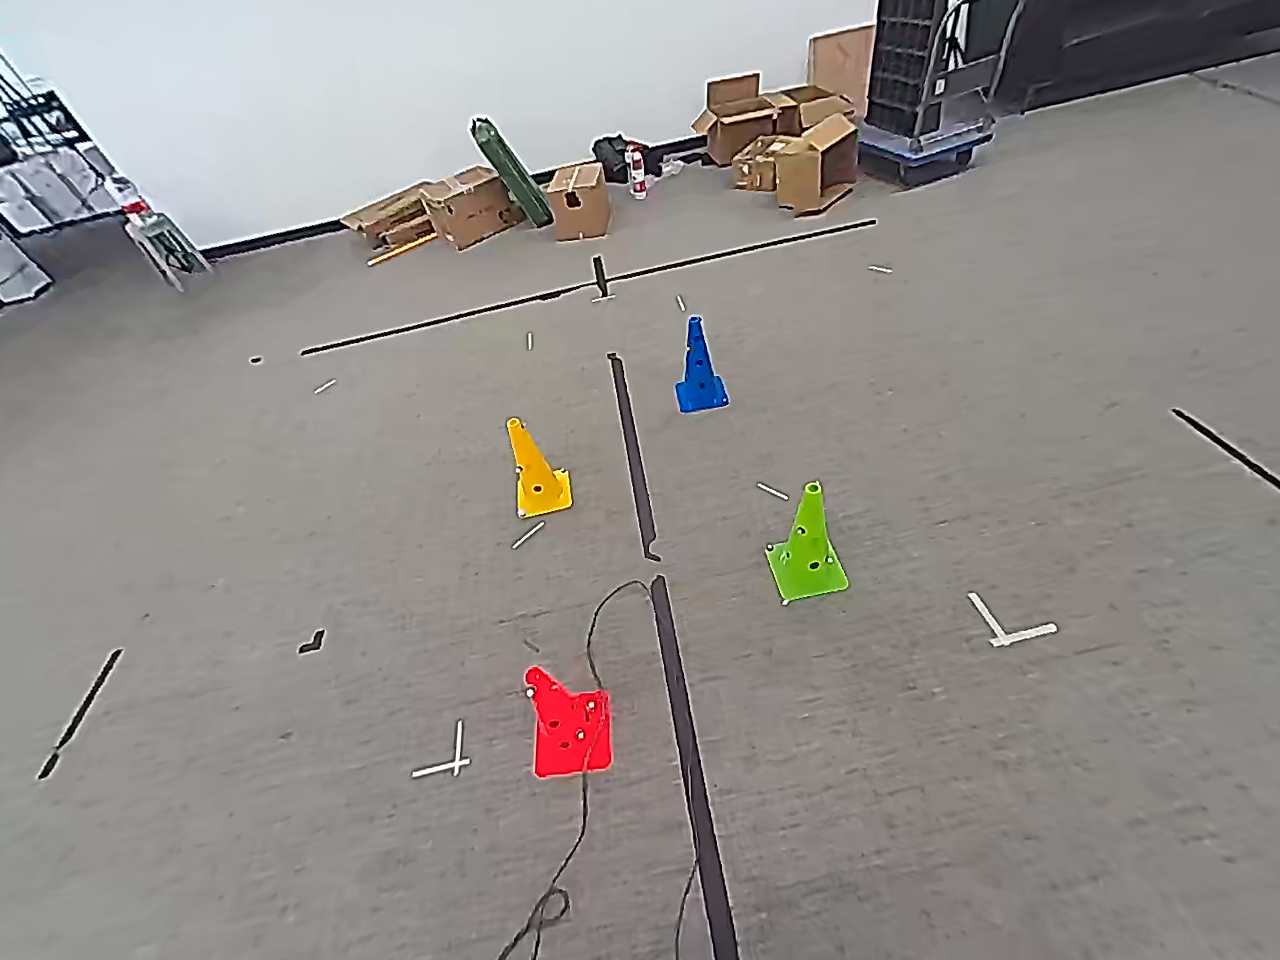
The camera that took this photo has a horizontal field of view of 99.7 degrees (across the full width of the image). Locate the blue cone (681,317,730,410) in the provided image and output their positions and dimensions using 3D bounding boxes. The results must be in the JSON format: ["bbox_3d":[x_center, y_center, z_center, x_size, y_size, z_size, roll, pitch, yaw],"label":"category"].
[{"bbox_3d":[0.247,-0.473,2.151,0.192,0.380,0.193,-8,46,3],"label":"blue cone"}]

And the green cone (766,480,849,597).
[{"bbox_3d":[0.476,0.139,1.504,0.202,0.368,0.200,-11,46,0],"label":"green cone"}]

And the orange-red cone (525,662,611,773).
[{"bbox_3d":[-0.204,0.532,1.288,0.199,0.360,0.198,-9,45,5],"label":"orange-red cone"}]
